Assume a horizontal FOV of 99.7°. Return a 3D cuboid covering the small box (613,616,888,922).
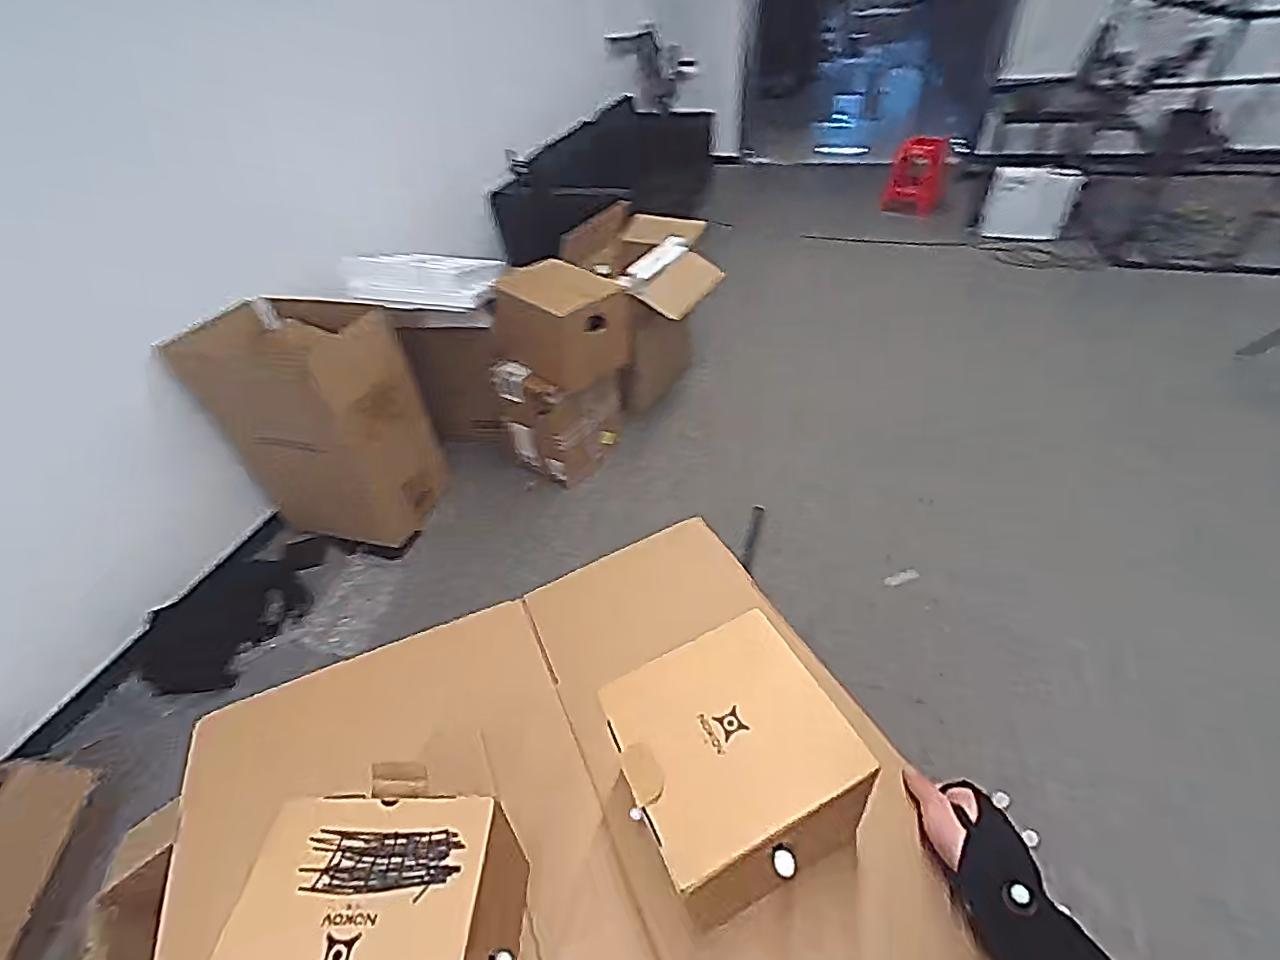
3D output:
[{"bbox_3d":[0.095,0.268,0.509,0.179,0.176,0.168,-23,43,-12],"label":"small box"}]
